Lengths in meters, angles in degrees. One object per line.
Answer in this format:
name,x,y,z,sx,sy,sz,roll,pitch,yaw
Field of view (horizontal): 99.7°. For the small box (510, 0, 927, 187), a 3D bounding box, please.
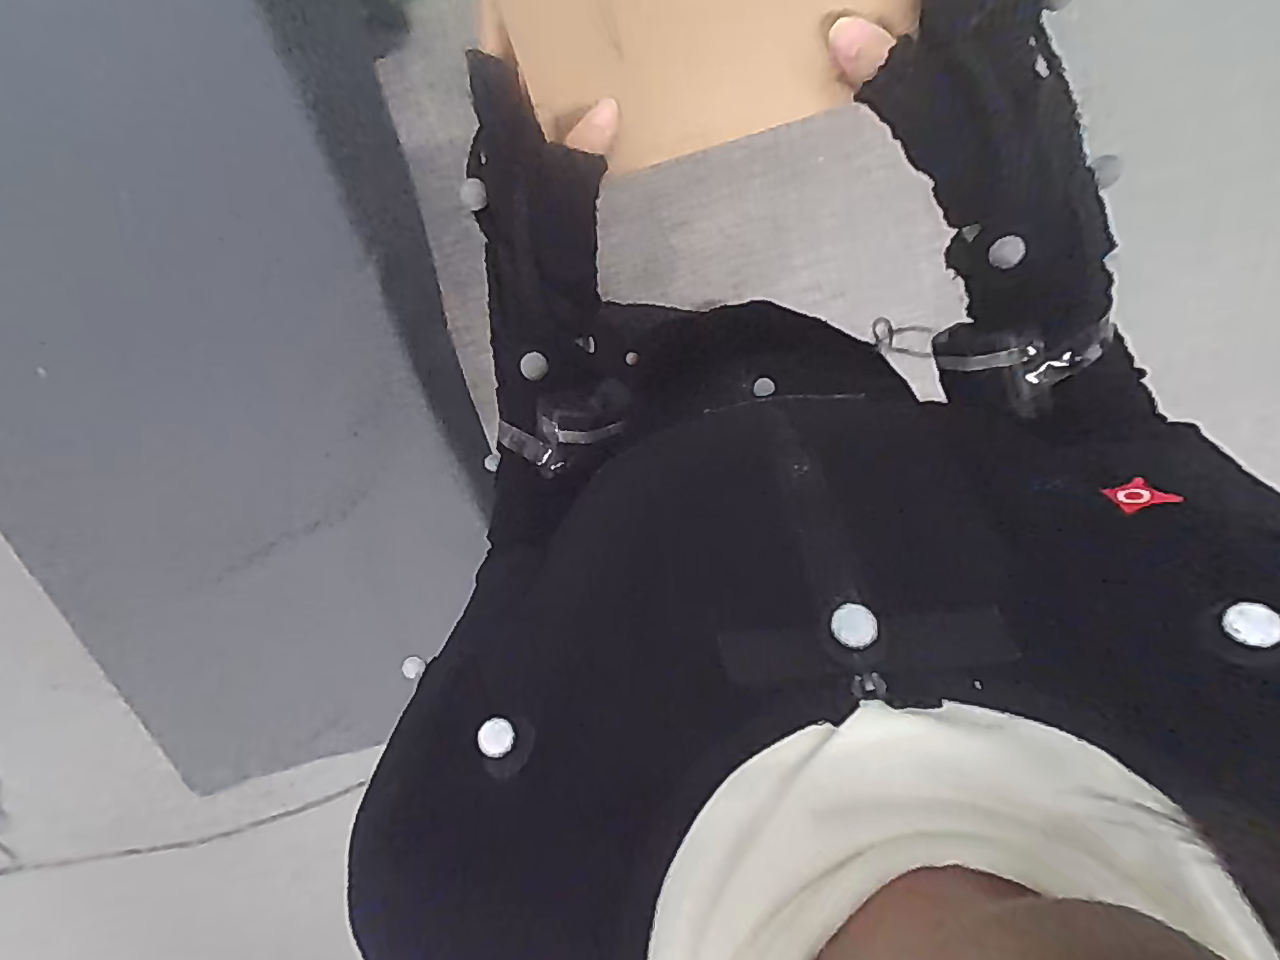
small box,0.027,-0.282,0.267,0.179,0.176,0.168,-10,135,12
